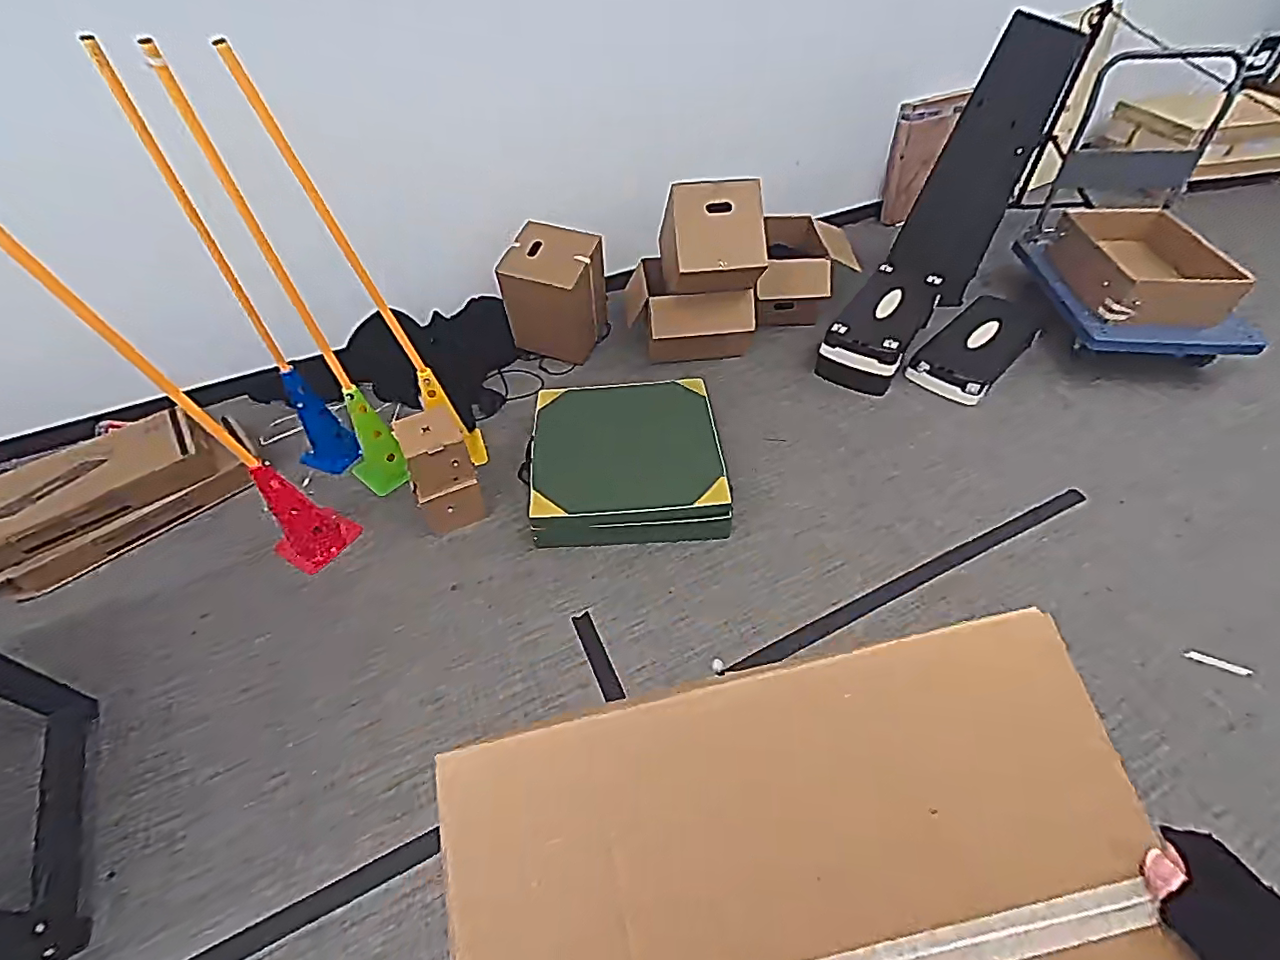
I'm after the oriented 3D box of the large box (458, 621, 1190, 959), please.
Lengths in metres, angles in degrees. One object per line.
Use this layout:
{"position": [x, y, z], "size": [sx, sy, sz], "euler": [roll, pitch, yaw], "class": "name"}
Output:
{"position": [0.118, 0.330, 0.450], "size": [0.408, 0.320, 0.320], "euler": [-14, 69, 0], "class": "large box"}
